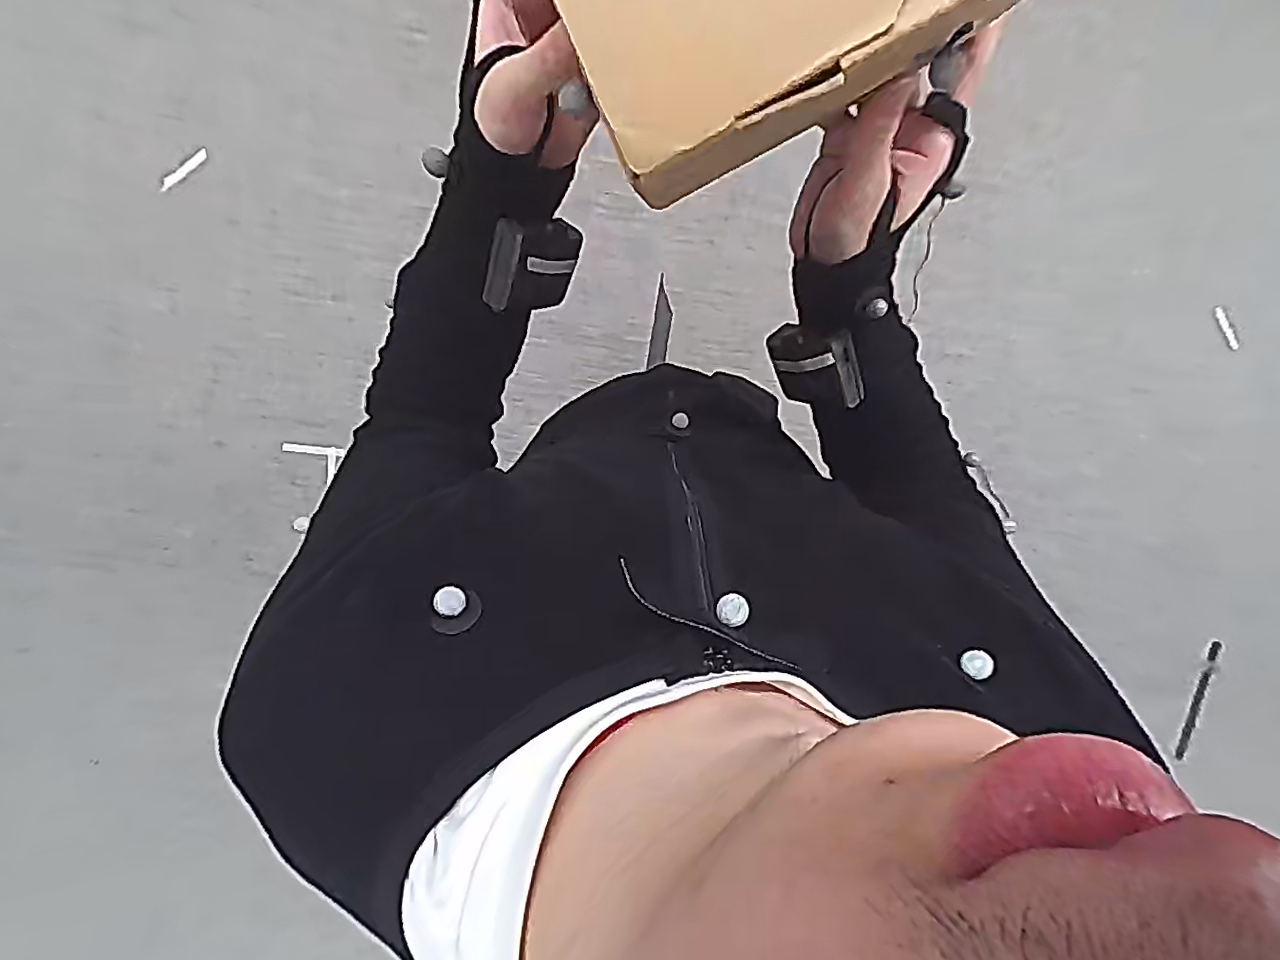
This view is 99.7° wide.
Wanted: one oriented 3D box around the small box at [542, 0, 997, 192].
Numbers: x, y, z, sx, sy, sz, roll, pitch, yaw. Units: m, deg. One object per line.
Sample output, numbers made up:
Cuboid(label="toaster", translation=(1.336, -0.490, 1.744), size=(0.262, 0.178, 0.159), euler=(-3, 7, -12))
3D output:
Cuboid(label="small box", translation=(0.036, -0.225, 0.191), size=(0.168, 0.176, 0.179), euler=(-24, 110, 13))
